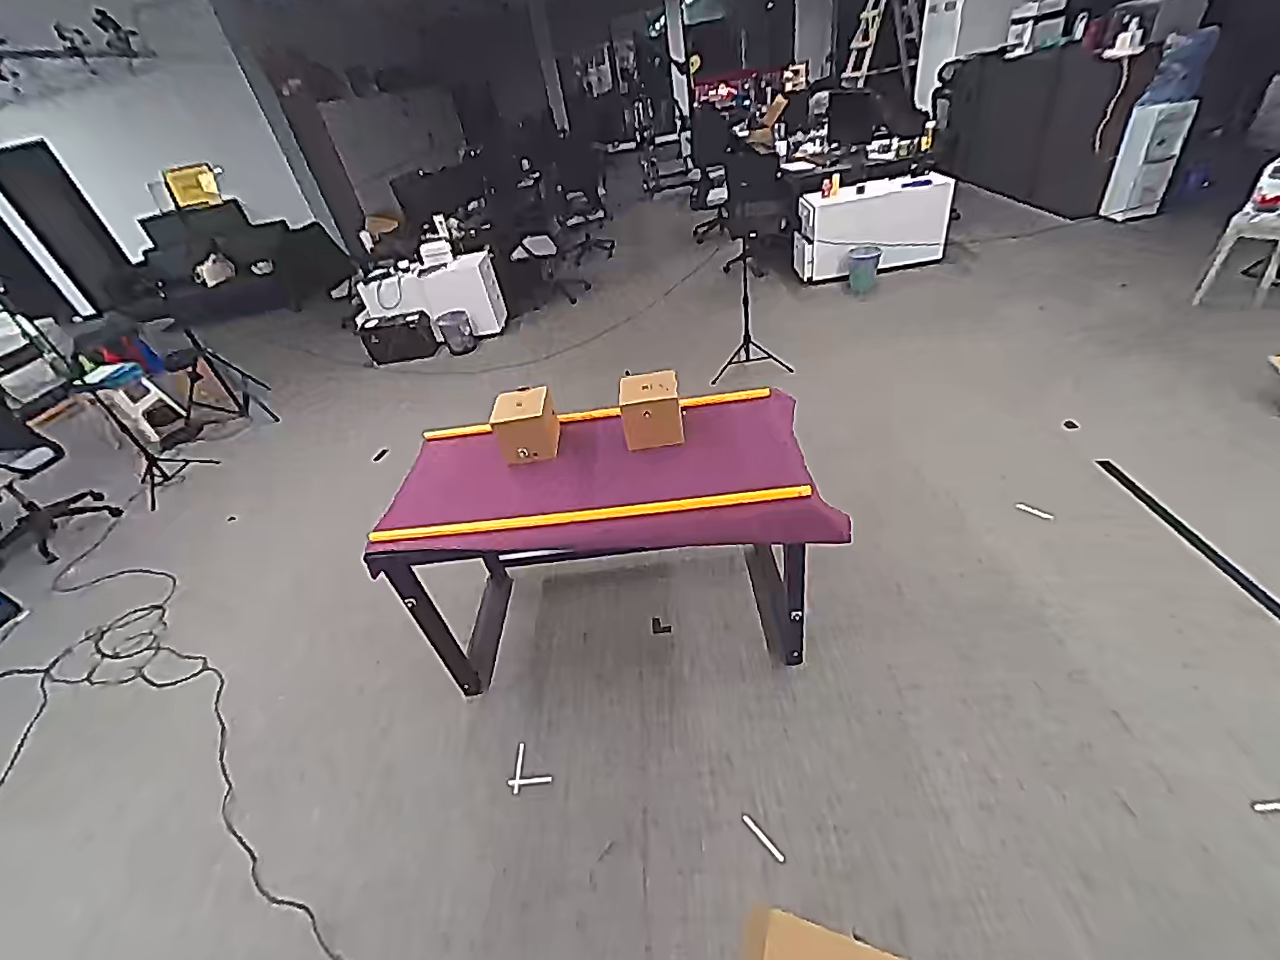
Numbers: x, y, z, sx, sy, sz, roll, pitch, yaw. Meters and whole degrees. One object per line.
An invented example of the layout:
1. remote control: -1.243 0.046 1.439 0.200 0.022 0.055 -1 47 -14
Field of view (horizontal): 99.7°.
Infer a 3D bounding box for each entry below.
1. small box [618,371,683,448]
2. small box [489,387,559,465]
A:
1. small box: 0.035 -0.214 1.672 0.179 0.176 0.168 -7 39 6
2. small box: -0.361 -0.171 1.723 0.168 0.176 0.179 -9 39 4
